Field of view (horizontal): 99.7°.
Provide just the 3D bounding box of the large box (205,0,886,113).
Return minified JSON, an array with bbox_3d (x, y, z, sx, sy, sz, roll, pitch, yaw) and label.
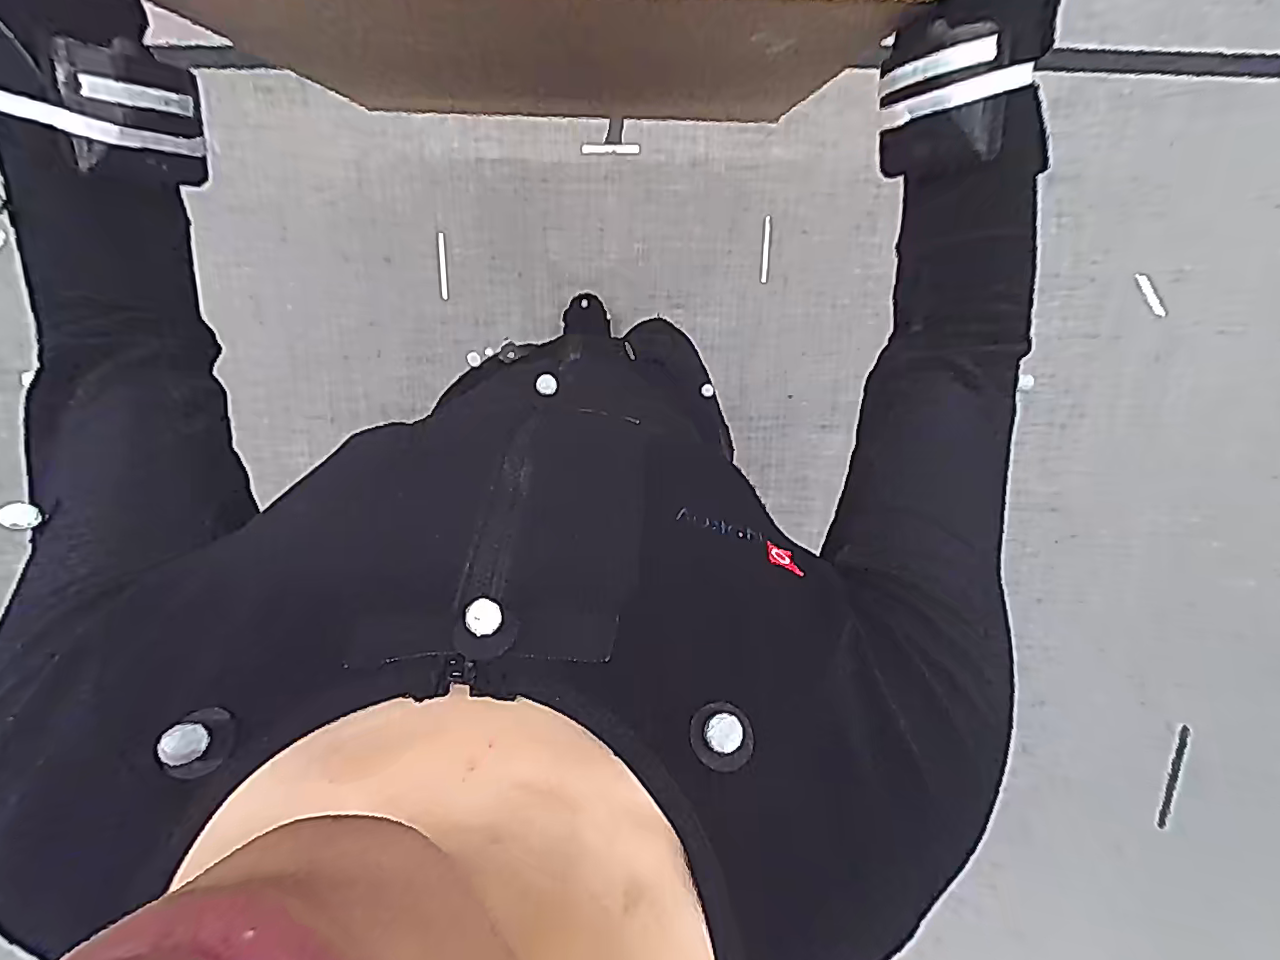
[{"bbox_3d":[-0.057,-0.448,0.341,0.408,0.320,0.320,0,114,-2],"label":"large box"}]
